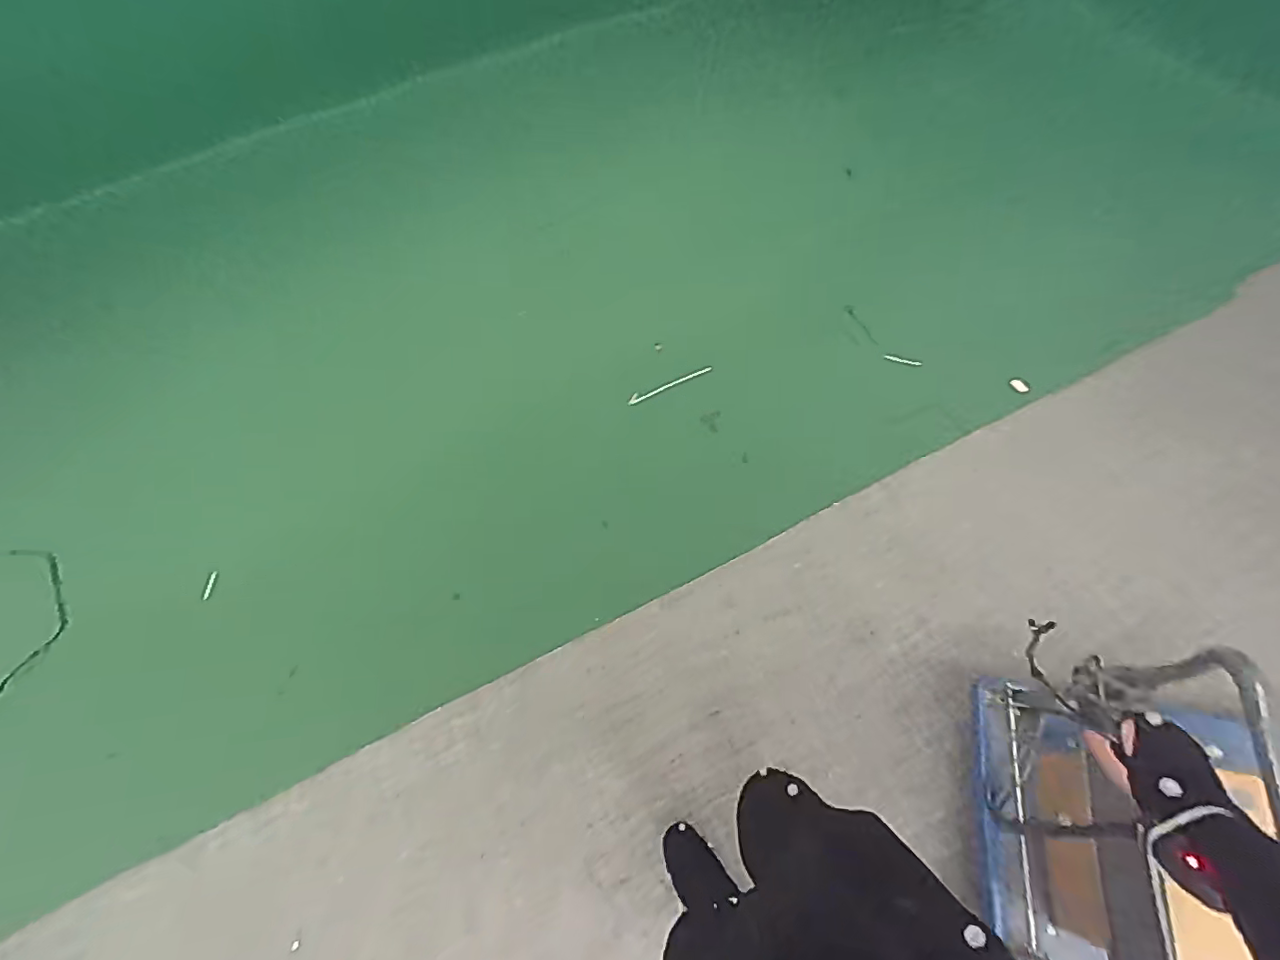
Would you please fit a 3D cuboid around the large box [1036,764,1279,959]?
[{"bbox_3d":[1.008,0.699,0.941,0.408,0.320,0.320,8,65,8],"label":"large box"}]
